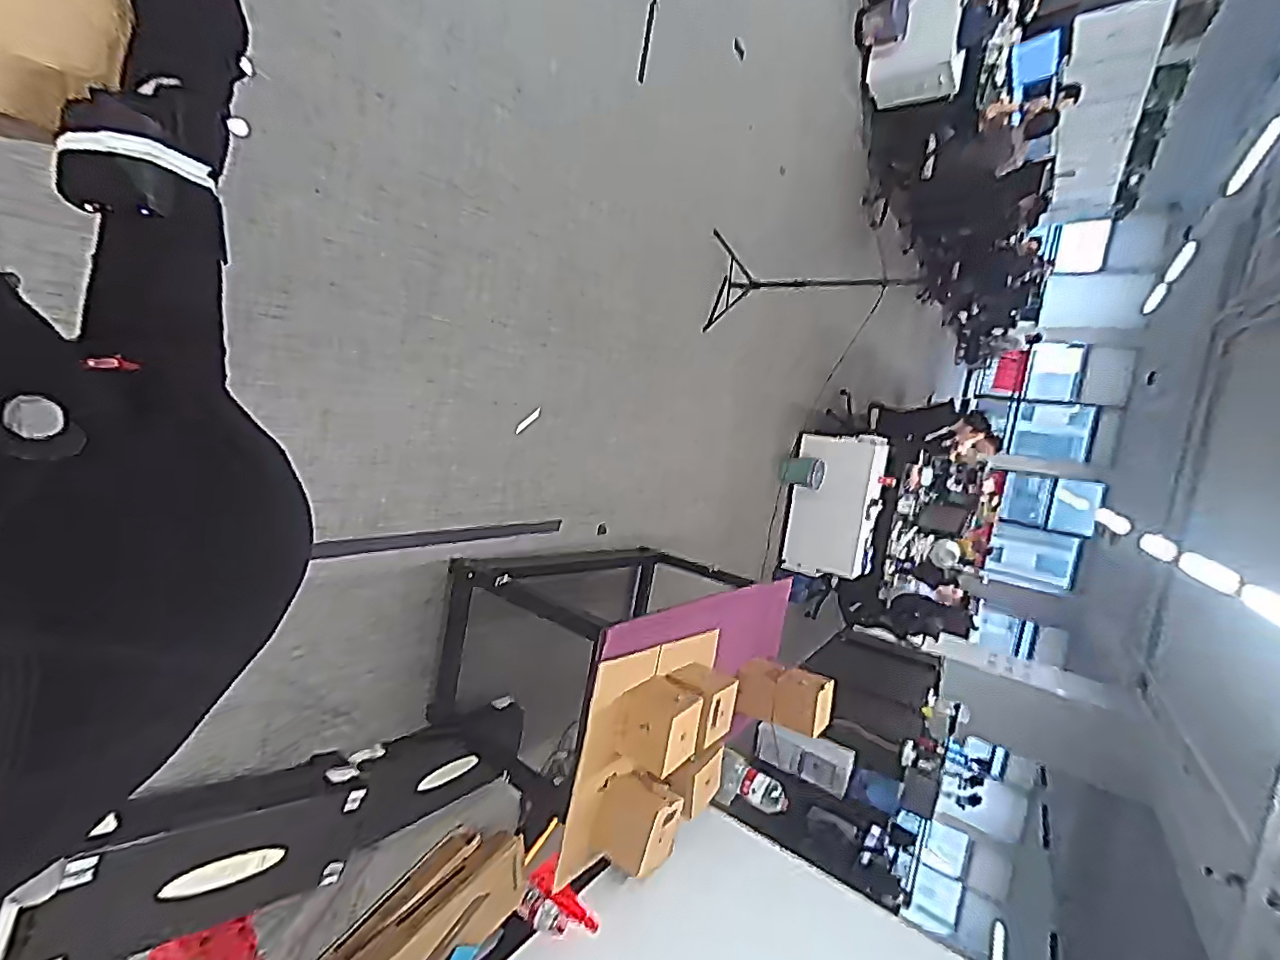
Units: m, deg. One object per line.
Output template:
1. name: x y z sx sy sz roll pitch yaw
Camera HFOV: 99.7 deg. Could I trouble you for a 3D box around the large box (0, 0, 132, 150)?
1. large box: -0.581 -0.433 0.282 0.408 0.320 0.320 -5 115 -60
